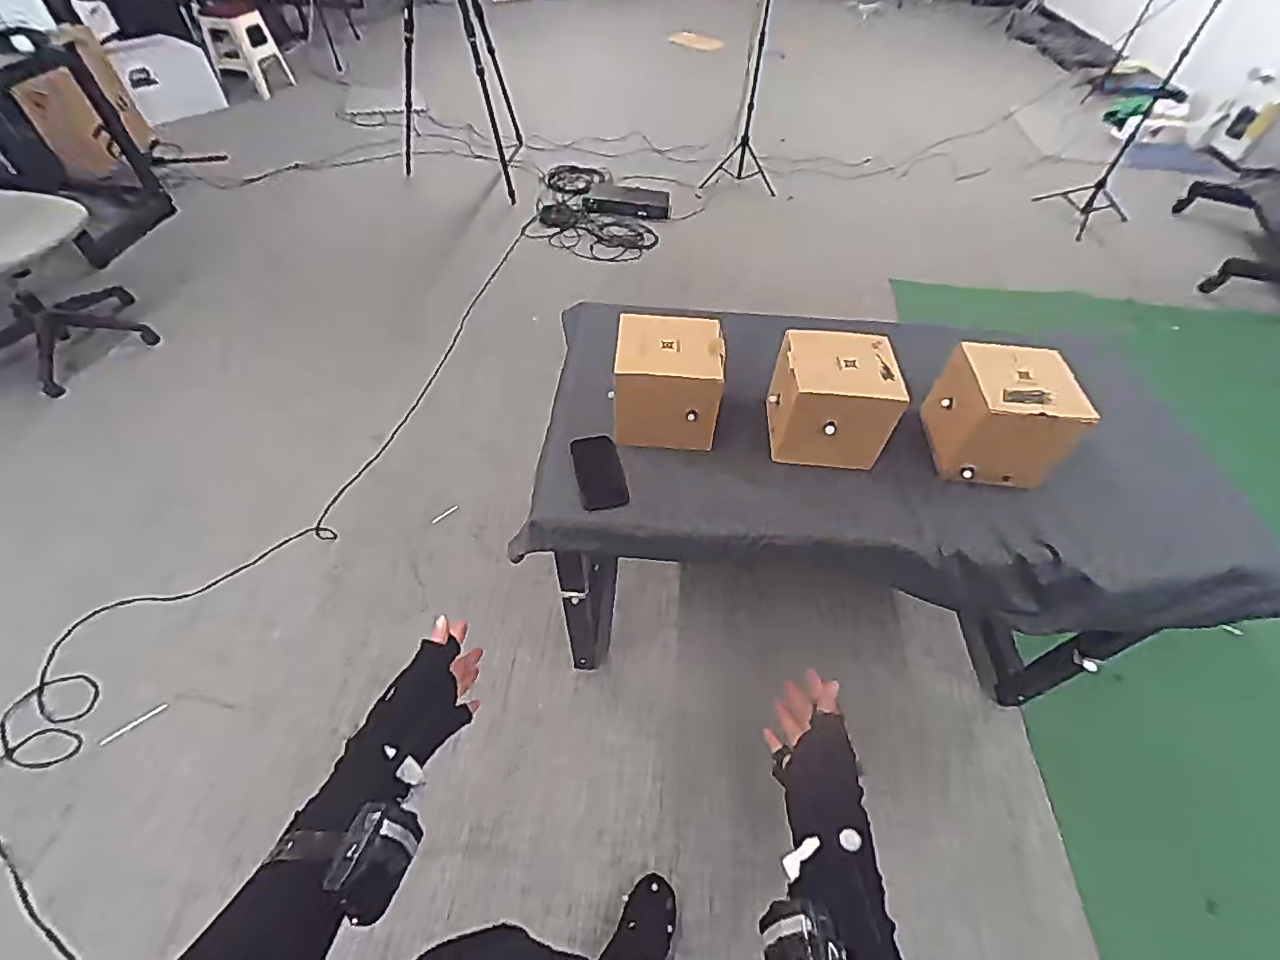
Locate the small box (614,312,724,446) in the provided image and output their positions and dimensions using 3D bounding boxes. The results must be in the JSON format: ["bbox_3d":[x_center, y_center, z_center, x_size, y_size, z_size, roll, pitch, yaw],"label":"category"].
[{"bbox_3d":[0.048,-0.176,0.965,0.179,0.176,0.168,3,51,0],"label":"small box"}]

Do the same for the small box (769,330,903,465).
[{"bbox_3d":[0.329,-0.141,0.953,0.179,0.176,0.168,5,52,1],"label":"small box"}]

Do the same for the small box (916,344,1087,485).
[{"bbox_3d":[0.613,-0.111,0.945,0.168,0.176,0.179,7,51,2],"label":"small box"}]
